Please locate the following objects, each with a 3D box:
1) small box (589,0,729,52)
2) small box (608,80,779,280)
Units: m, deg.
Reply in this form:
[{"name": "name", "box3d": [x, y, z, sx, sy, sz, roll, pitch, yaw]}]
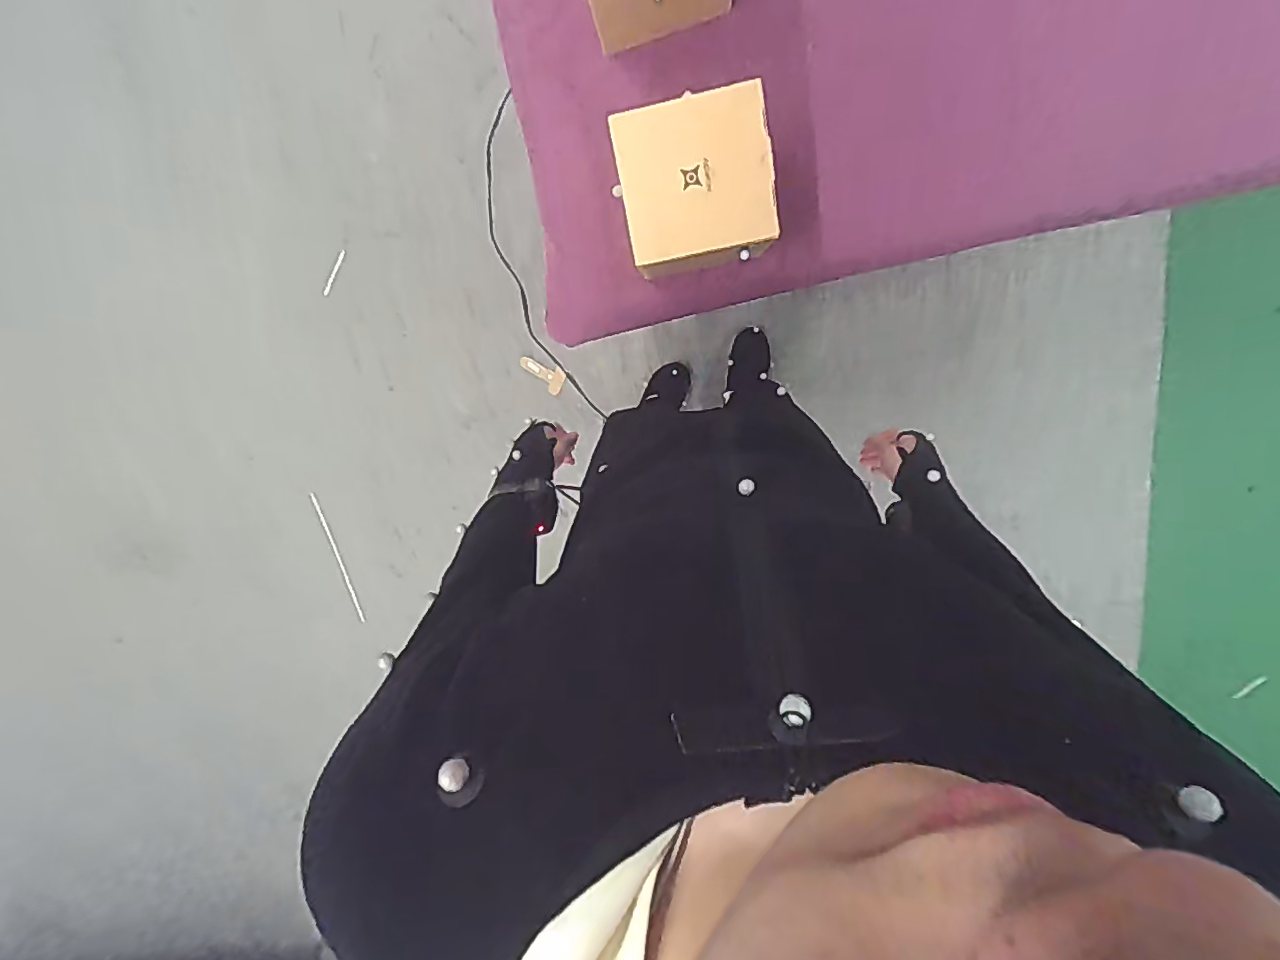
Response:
[{"name": "small box", "box3d": [0.009, -0.638, 0.617, 0.179, 0.176, 0.168, -14, 106, 7]}, {"name": "small box", "box3d": [0.068, -0.364, 0.694, 0.179, 0.176, 0.168, -10, 104, 6]}]
